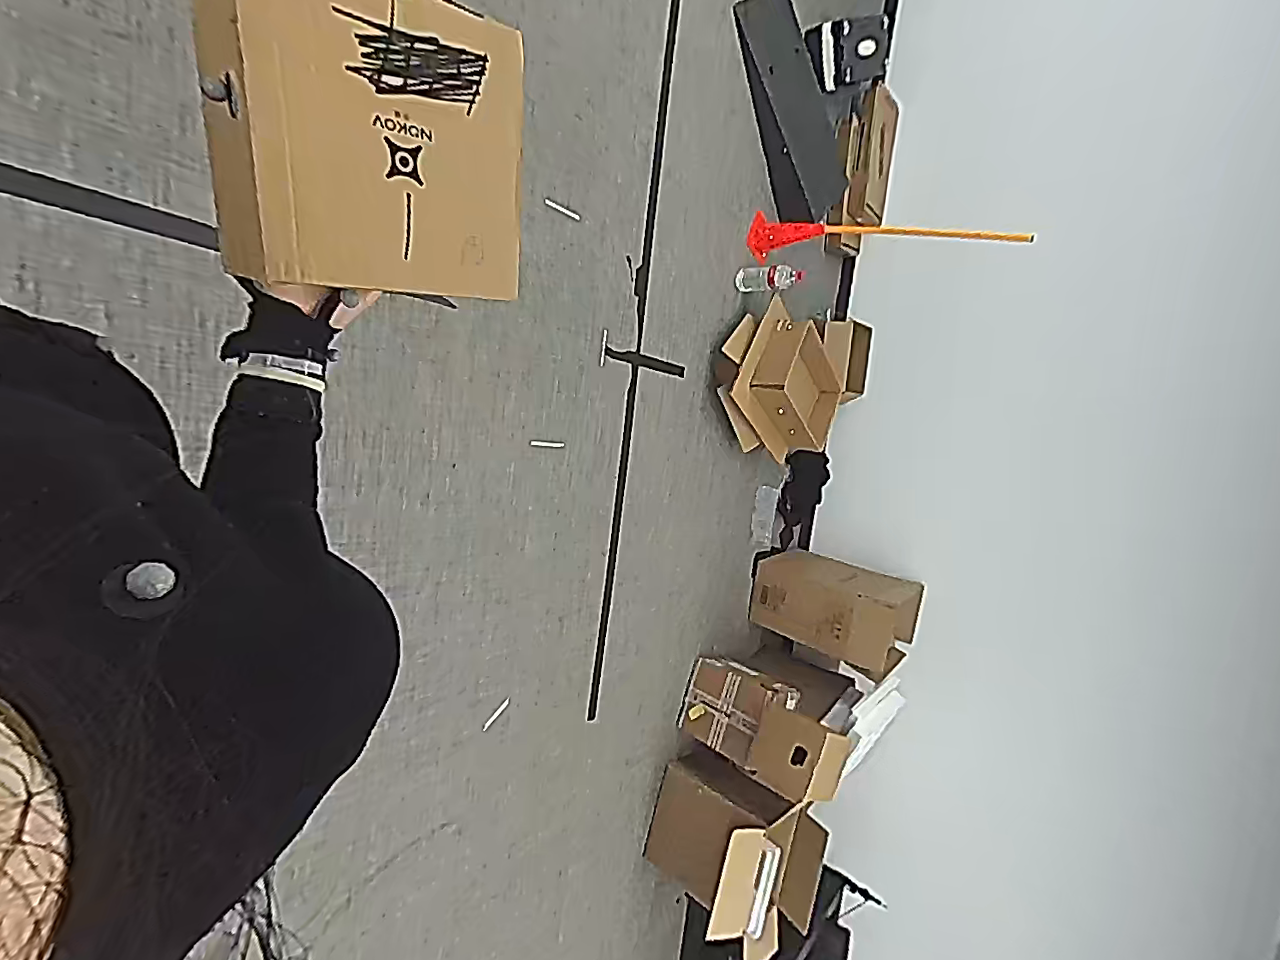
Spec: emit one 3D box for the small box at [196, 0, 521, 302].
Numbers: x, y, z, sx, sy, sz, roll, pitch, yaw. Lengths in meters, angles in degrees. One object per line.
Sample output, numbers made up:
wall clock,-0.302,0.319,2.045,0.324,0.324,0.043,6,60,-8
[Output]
small box,-0.204,-0.233,0.399,0.168,0.176,0.179,-11,115,-42
